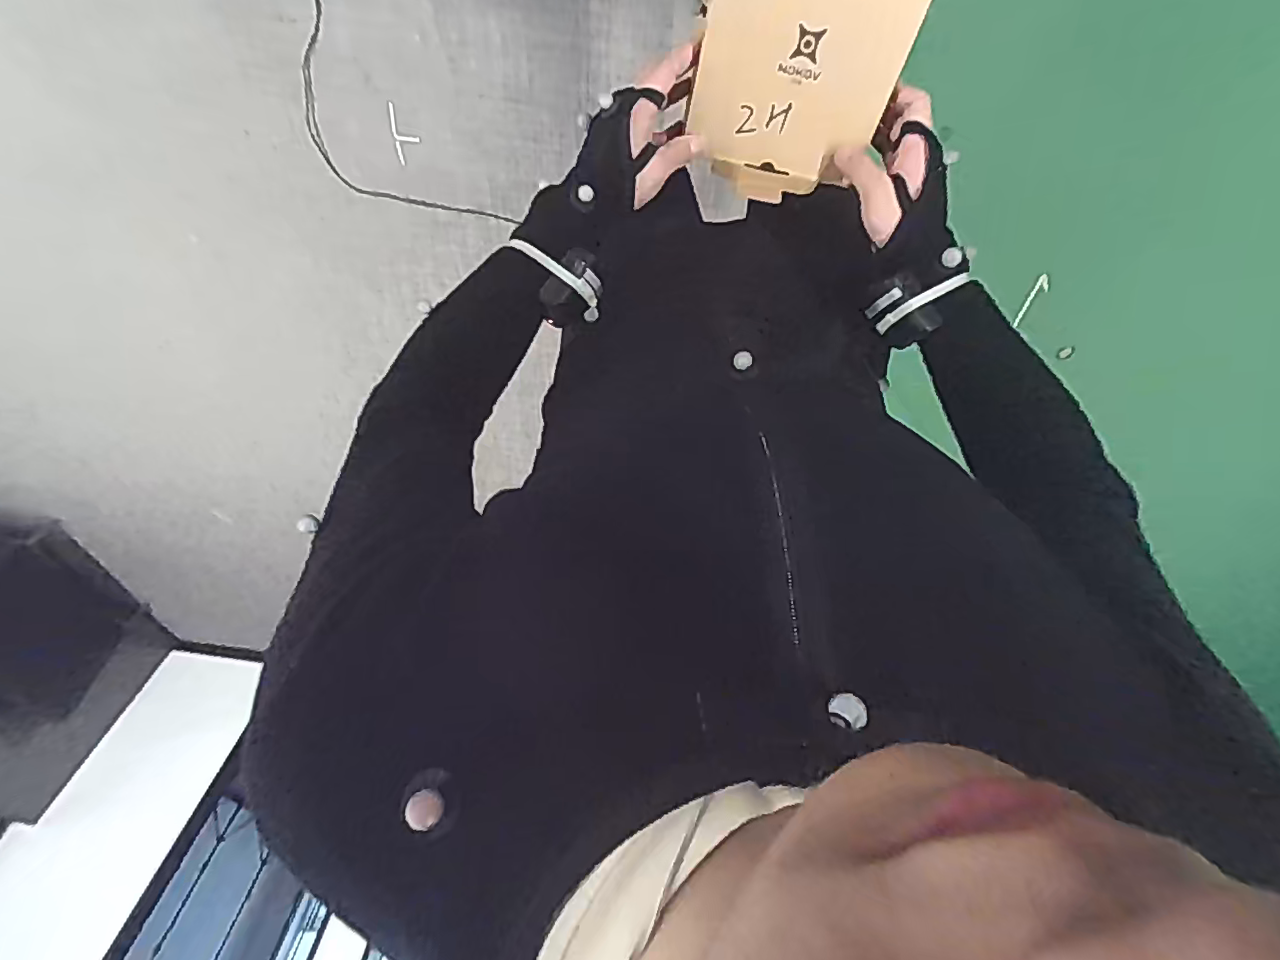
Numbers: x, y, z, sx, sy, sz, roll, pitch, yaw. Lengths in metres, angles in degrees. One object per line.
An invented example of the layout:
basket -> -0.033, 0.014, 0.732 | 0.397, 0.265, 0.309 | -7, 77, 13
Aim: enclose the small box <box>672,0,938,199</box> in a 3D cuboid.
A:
small box -> 0.135, -0.400, 0.493 | 0.168, 0.176, 0.179 | 15, 138, -8
